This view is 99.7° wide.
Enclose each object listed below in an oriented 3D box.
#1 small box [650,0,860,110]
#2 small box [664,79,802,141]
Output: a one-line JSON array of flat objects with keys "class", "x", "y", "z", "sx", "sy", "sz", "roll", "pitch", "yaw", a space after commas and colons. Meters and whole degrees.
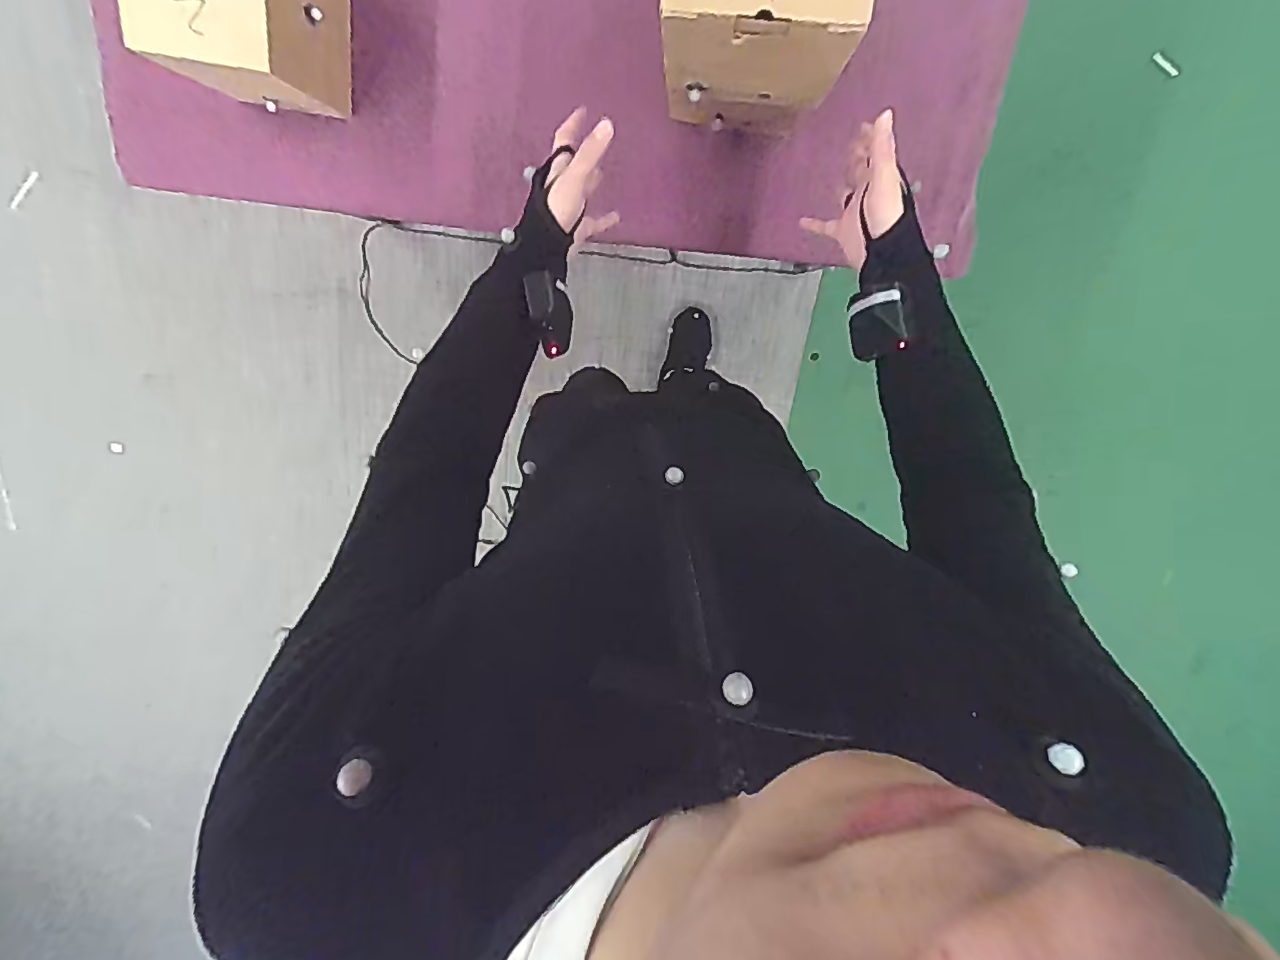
[{"class": "small box", "x": 0.106, "y": -0.461, "z": 0.481, "sx": 0.168, "sy": 0.176, "sz": 0.179, "roll": 7, "pitch": 106, "yaw": 2}, {"class": "small box", "x": 0.120, "y": -0.528, "z": 0.631, "sx": 0.168, "sy": 0.176, "sz": 0.179, "roll": 9, "pitch": 108, "yaw": 2}]
